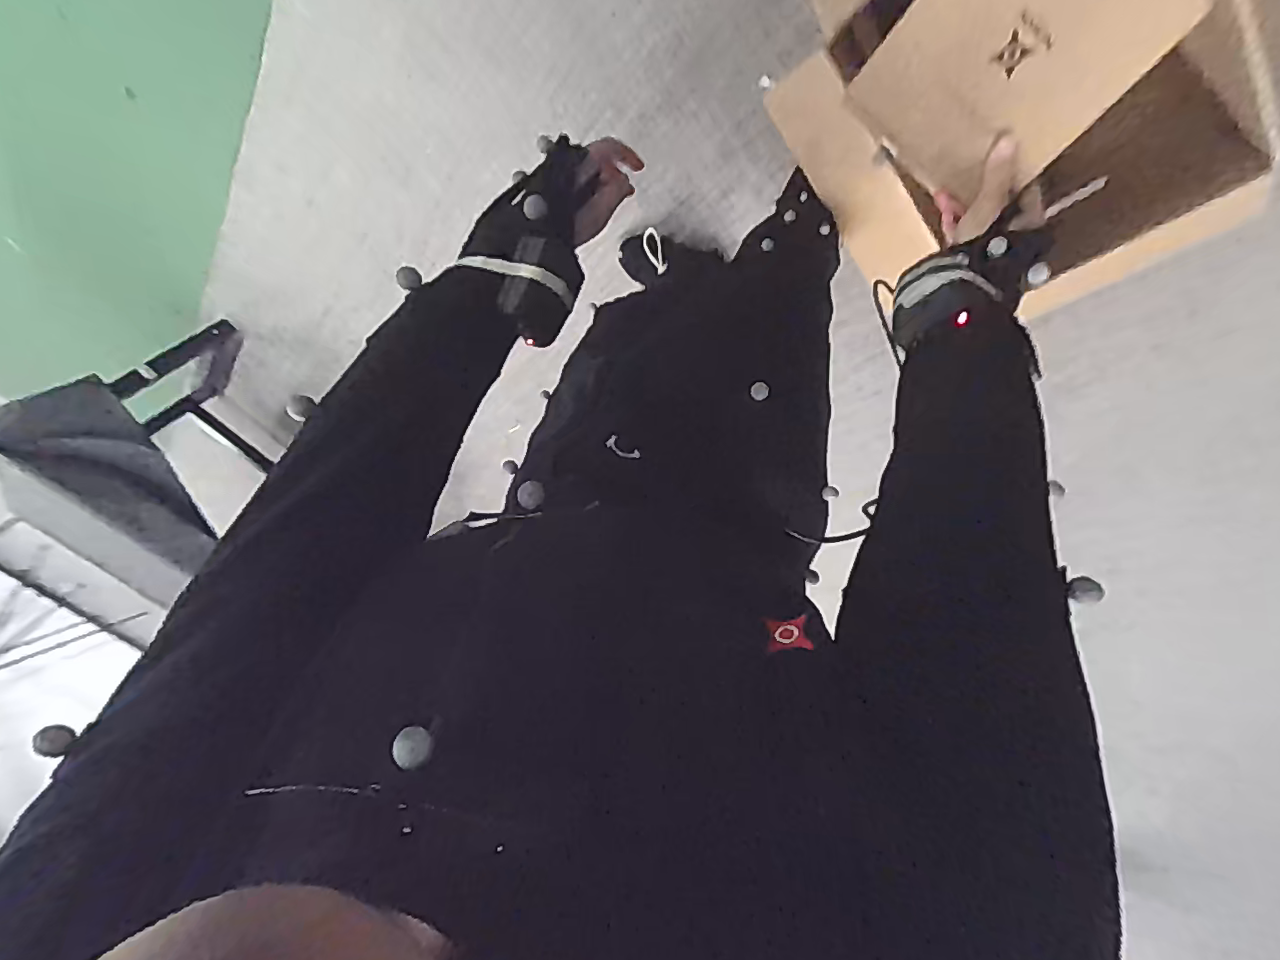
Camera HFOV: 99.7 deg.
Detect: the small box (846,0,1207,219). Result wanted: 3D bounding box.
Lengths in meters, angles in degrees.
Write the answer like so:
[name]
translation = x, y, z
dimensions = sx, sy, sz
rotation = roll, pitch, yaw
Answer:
[small box]
translation = 0.302, -0.366, 0.475
dimensions = 0.168, 0.176, 0.179
rotation = 38, 124, -7
